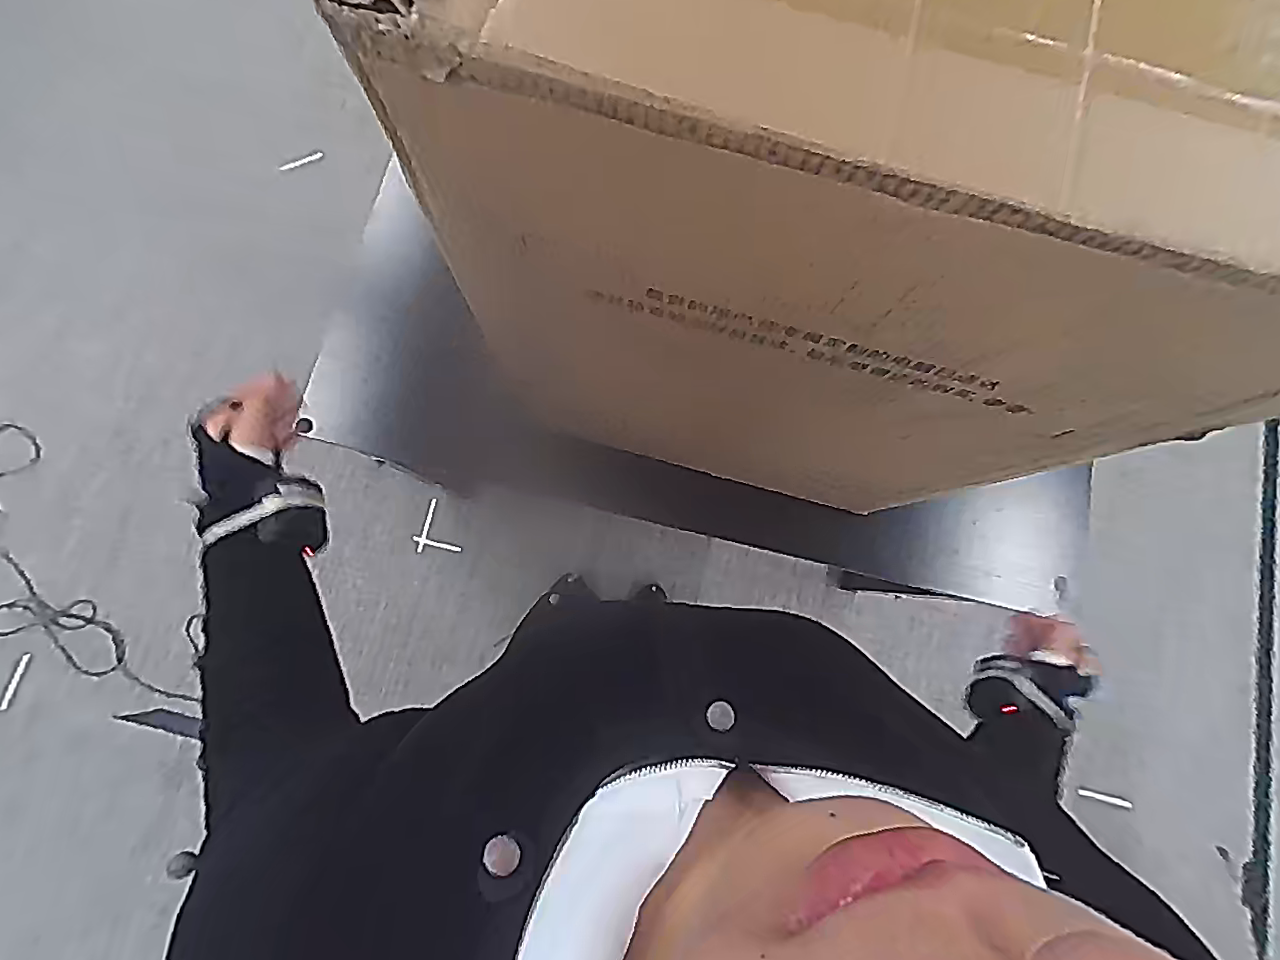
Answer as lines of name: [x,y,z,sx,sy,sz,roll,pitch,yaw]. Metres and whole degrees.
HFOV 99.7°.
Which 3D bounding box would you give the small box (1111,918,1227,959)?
small box: [1.269,1.180,1.276,0.179,0.176,0.168,7,80,-1]
